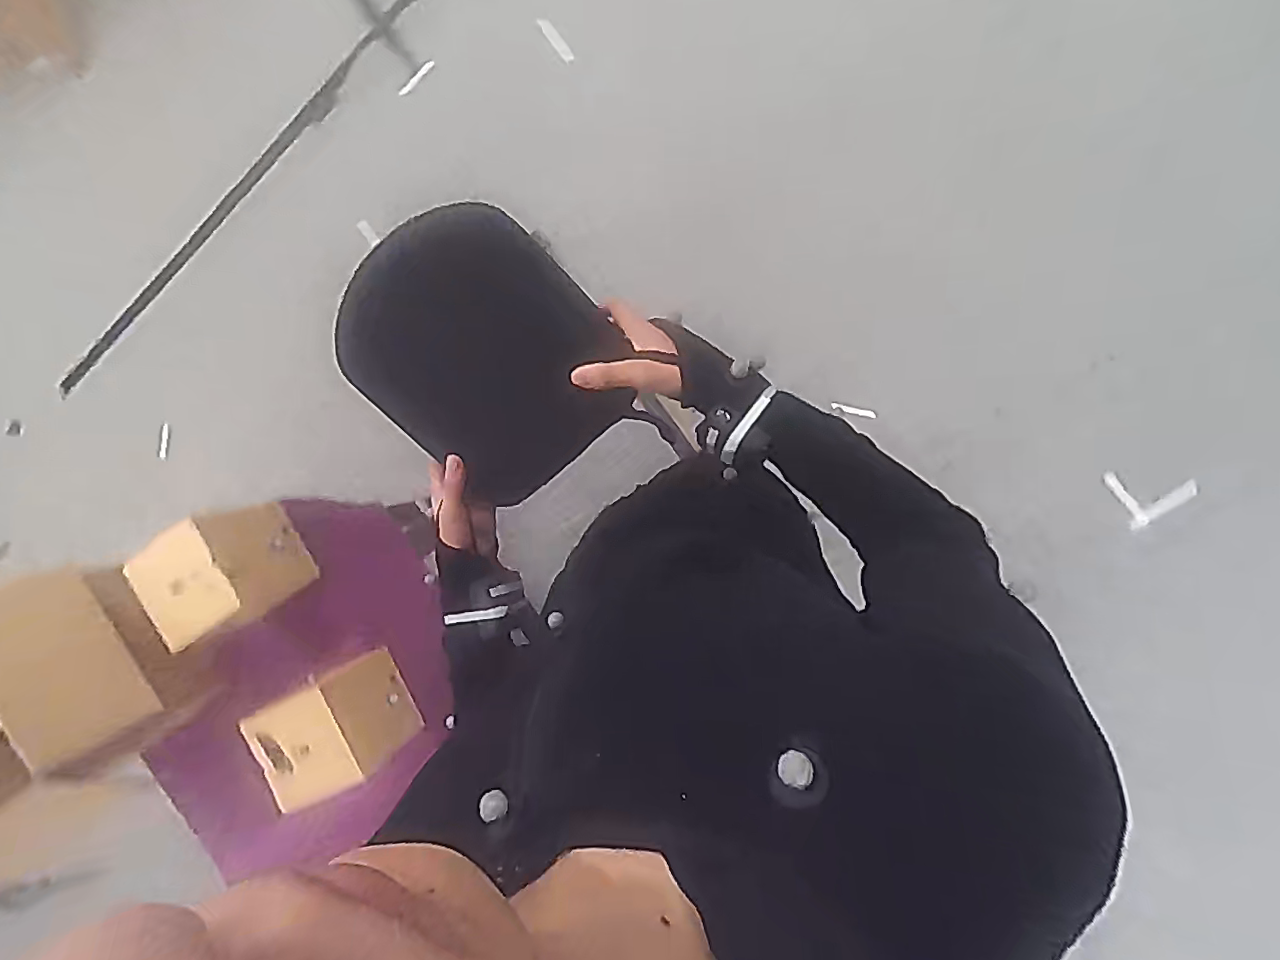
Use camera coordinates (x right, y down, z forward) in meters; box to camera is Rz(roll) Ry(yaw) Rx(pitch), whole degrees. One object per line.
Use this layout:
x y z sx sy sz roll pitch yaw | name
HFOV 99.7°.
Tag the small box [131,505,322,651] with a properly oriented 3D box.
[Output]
-0.715 0.164 0.953 0.179 0.176 0.168 -32 91 13 | small box
